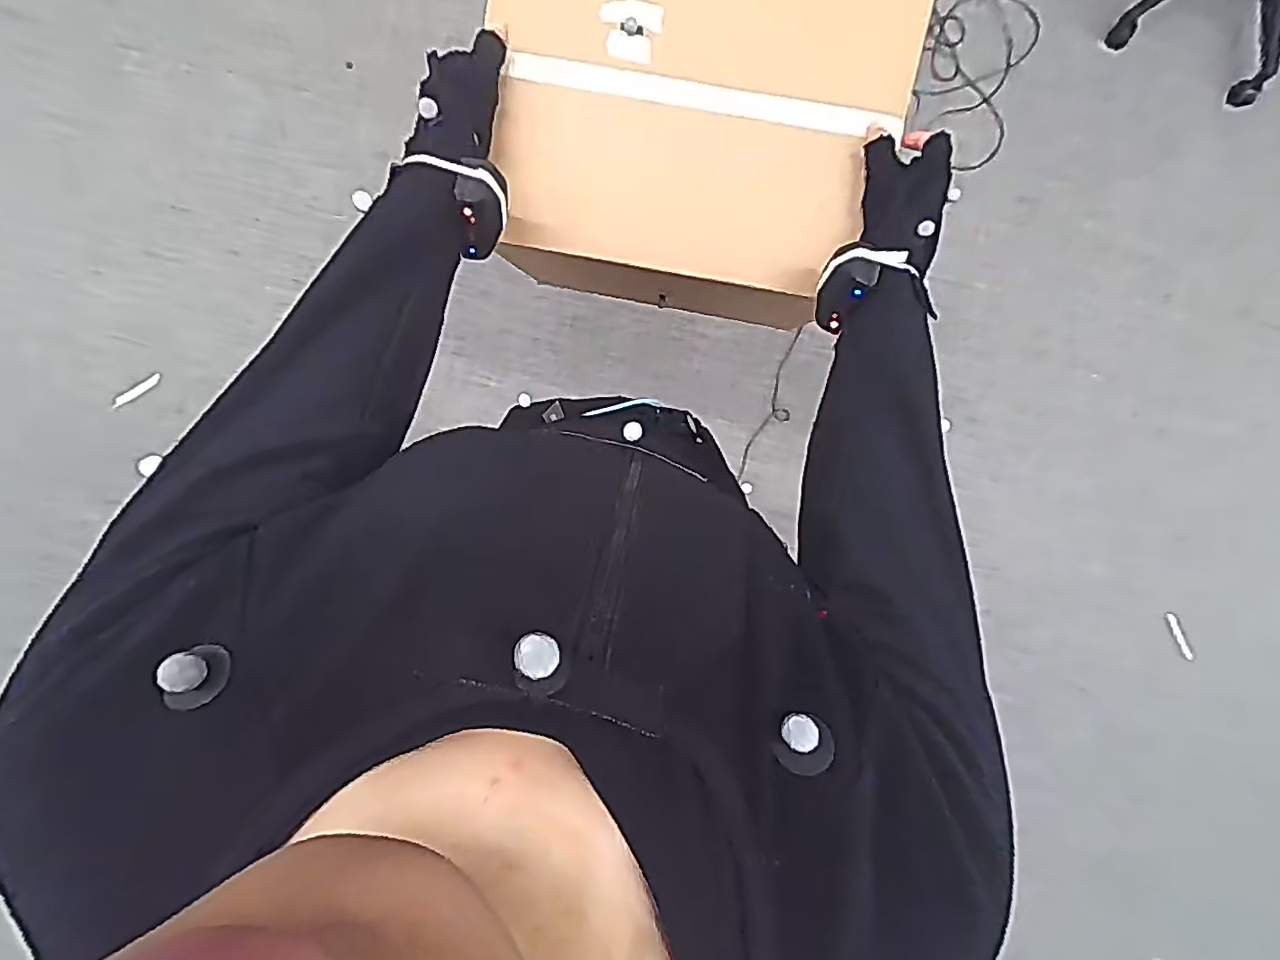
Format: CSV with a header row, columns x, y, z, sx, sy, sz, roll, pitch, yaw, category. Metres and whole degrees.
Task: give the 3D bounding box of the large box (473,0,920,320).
x,y,z,sx,sy,sz,roll,pitch,yaw,category
0.056,-0.395,0.671,0.408,0.320,0.320,11,101,1,large box
